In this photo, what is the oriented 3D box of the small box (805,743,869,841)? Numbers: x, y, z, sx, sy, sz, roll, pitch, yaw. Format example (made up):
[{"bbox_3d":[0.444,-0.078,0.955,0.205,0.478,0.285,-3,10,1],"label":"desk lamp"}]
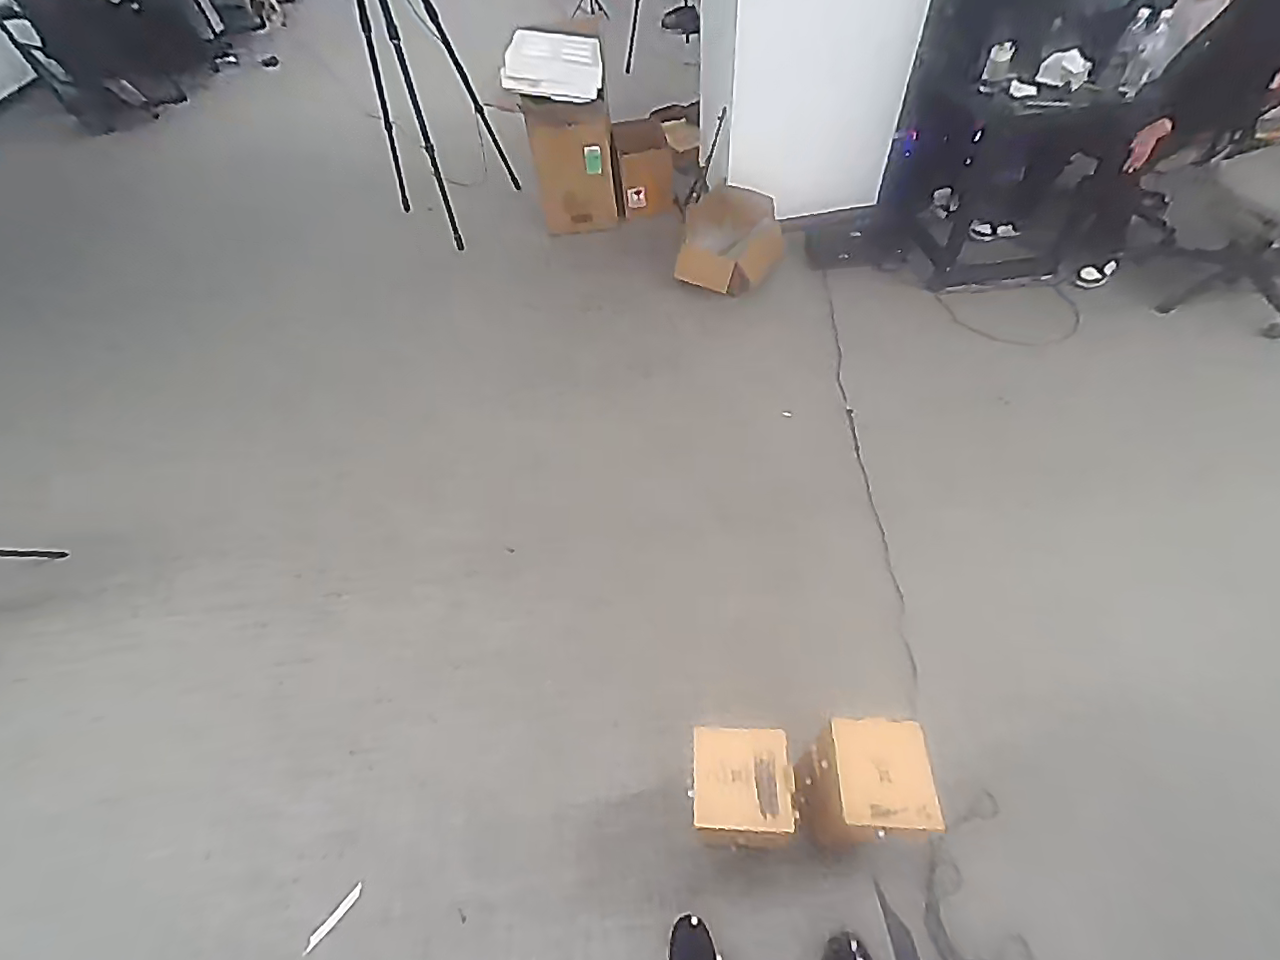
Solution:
[{"bbox_3d":[0.464,0.669,1.164,0.179,0.176,0.168,-6,53,2],"label":"small box"}]

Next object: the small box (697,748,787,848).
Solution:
[{"bbox_3d":[0.212,0.690,1.169,0.179,0.176,0.168,-1,53,6],"label":"small box"}]

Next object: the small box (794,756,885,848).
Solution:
[{"bbox_3d":[0.477,0.765,1.293,0.168,0.176,0.179,-7,53,1],"label":"small box"}]

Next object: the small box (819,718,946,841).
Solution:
[{"bbox_3d":[0.447,0.572,1.032,0.168,0.176,0.179,0,52,7],"label":"small box"}]
